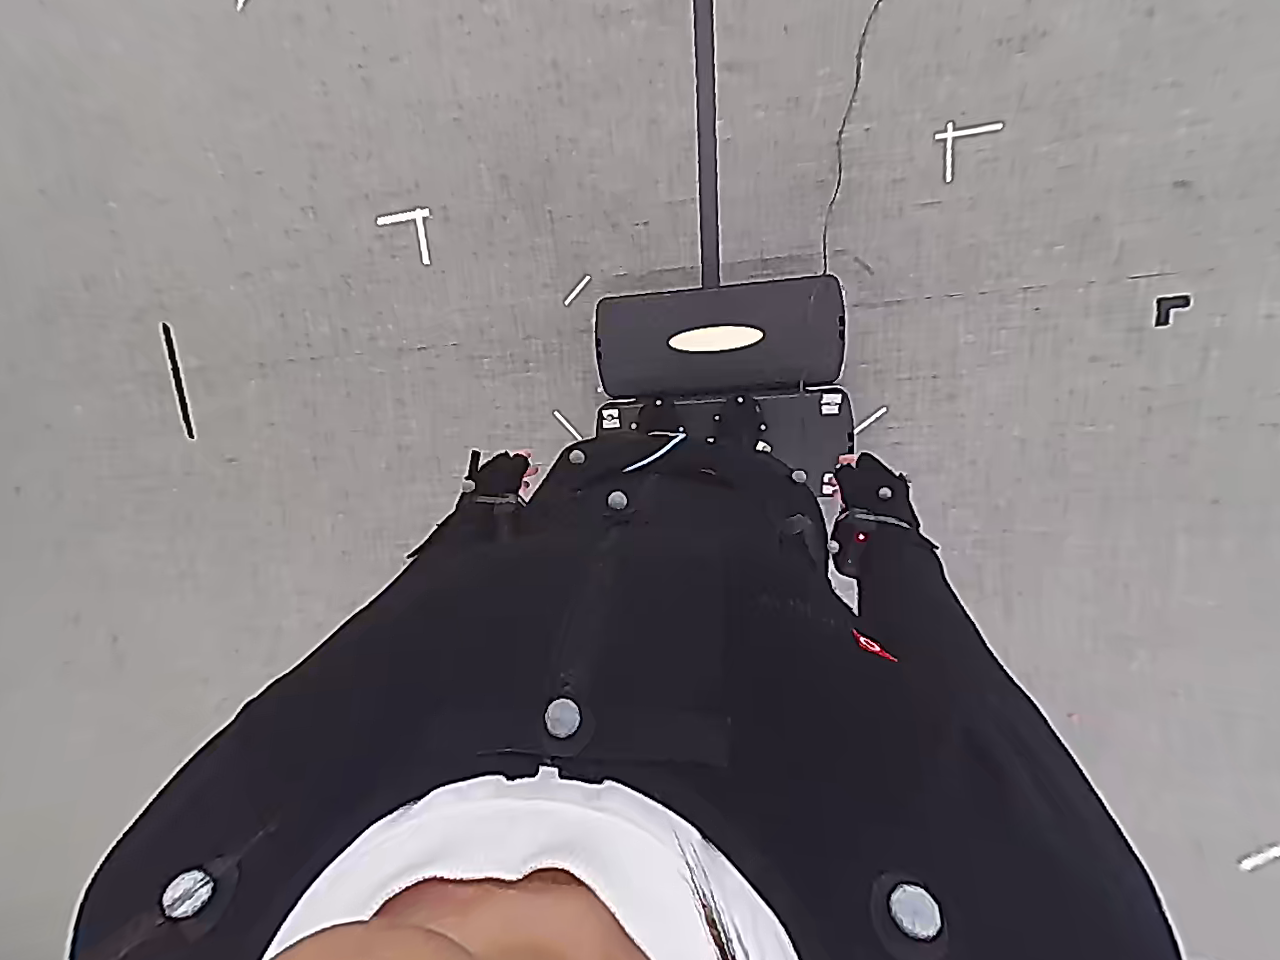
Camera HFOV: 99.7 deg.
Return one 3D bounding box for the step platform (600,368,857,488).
[{"bbox_3d":[0.232,-0.138,1.486,0.684,0.204,0.286,-3,100,12],"label":"step platform"}]
